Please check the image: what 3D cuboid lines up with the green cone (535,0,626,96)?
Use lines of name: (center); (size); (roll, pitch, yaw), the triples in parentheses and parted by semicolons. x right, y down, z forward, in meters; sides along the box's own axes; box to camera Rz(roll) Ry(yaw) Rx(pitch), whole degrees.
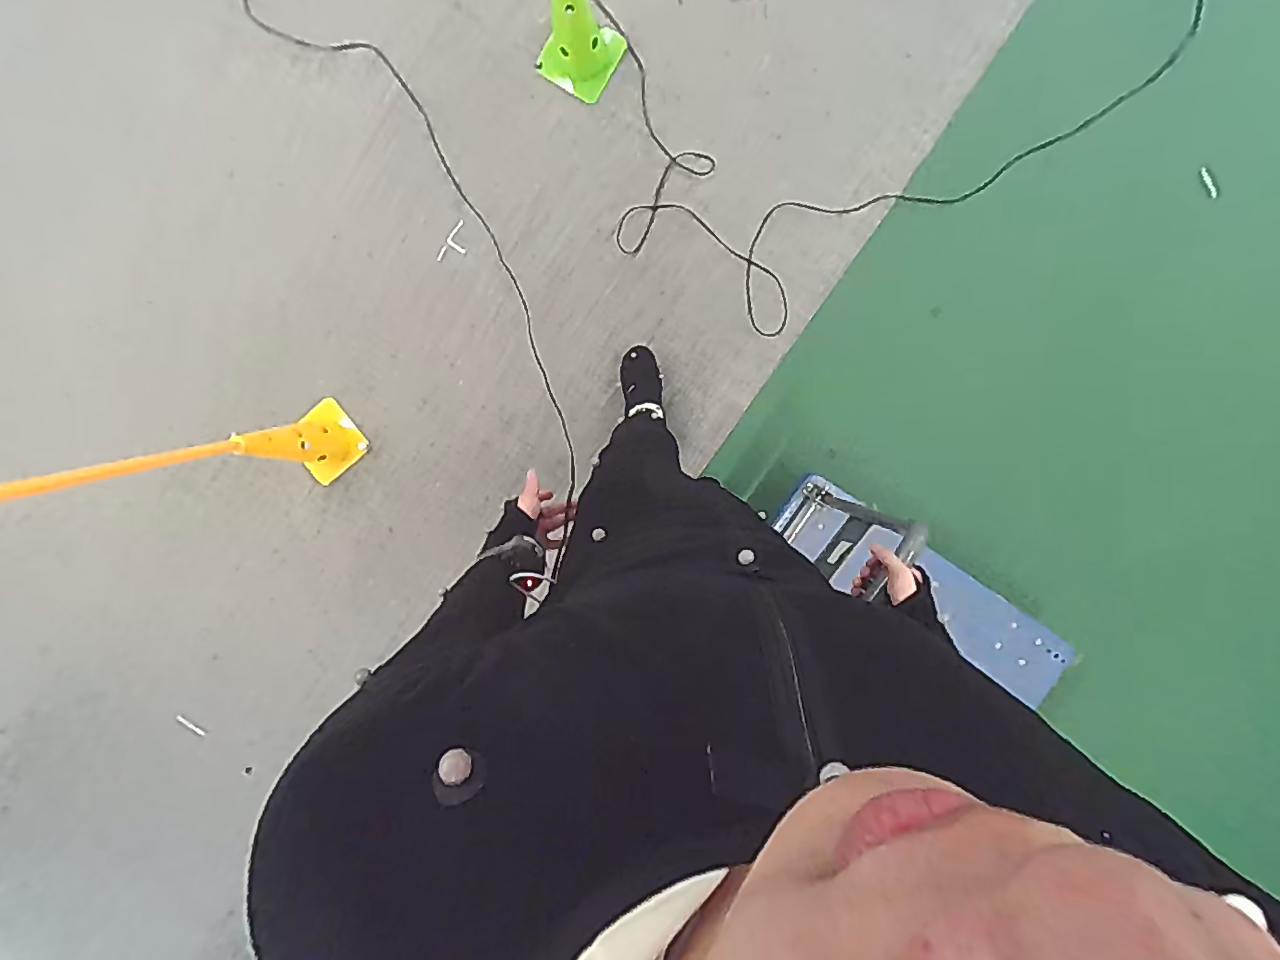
green cone: (-0.166, -1.171, 1.313); (0.200, 0.368, 0.202); (31, 94, -1)
